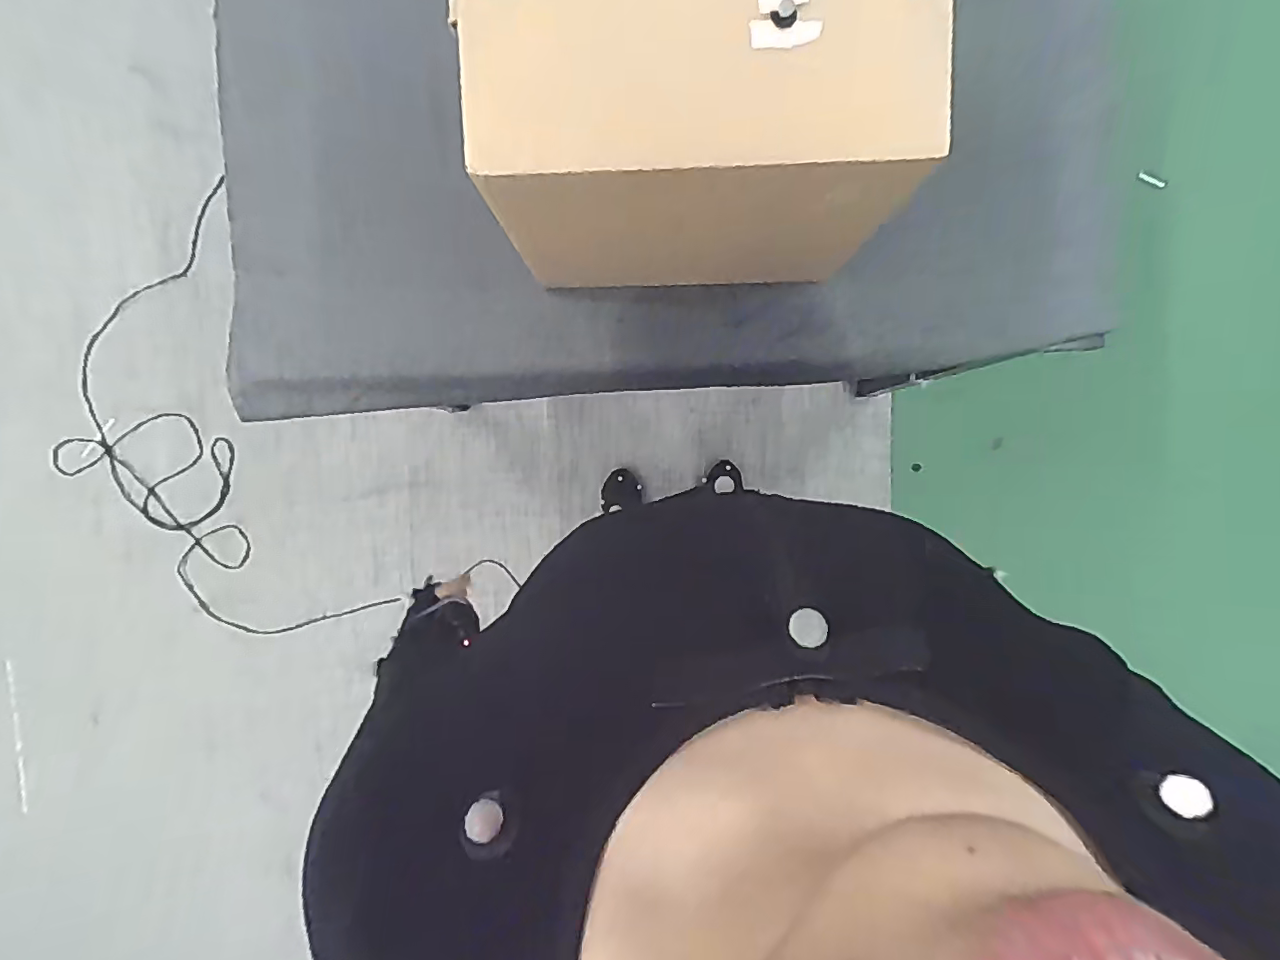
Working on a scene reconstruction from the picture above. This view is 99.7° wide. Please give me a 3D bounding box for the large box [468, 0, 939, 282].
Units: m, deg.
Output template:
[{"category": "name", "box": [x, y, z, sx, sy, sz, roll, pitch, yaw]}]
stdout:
[{"category": "large box", "box": [0.051, -0.433, 0.606, 0.408, 0.320, 0.320, -2, 93, 1]}]
